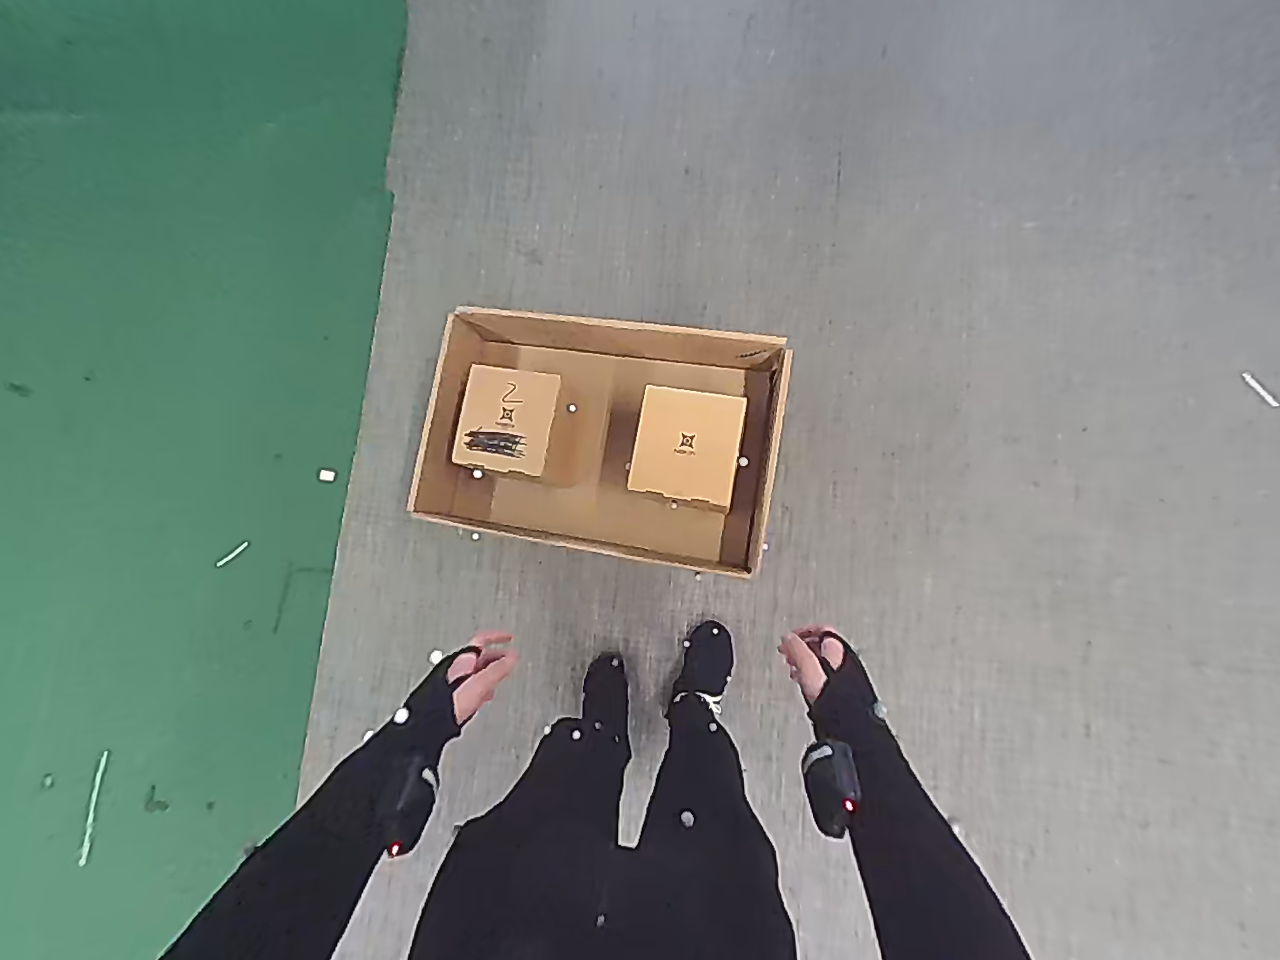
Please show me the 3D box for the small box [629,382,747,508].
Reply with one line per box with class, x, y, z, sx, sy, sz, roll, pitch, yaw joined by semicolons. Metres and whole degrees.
small box;0.086;-0.054;0.932;0.168;0.176;0.179;9;86;10
